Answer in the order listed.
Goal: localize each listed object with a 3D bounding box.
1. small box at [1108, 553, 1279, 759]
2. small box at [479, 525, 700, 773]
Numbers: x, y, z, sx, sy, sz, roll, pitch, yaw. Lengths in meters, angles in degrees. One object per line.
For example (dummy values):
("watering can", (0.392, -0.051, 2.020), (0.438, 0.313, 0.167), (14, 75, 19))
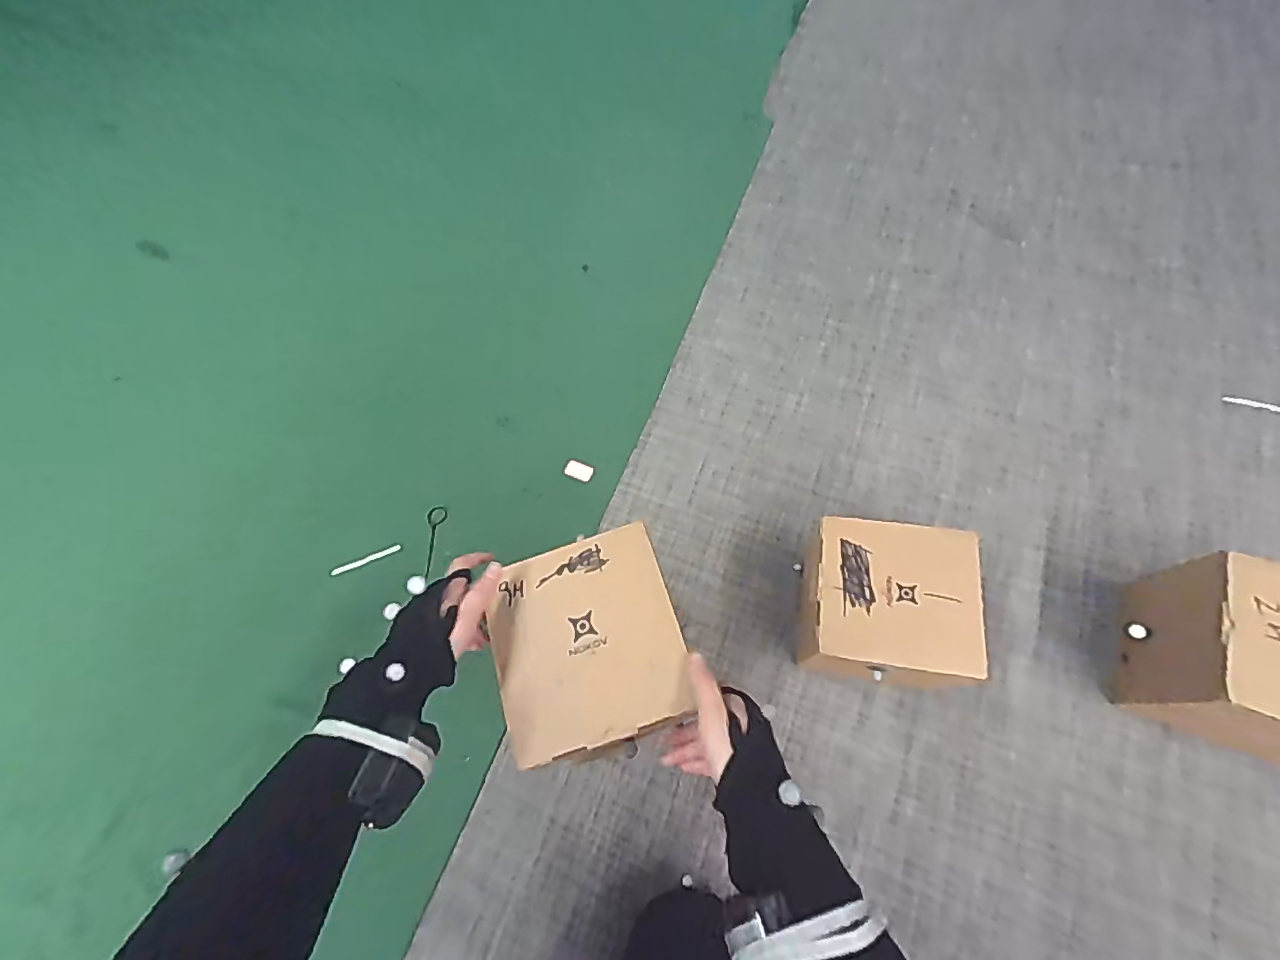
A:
("small box", (0.686, 0.204, 0.607), (0.179, 0.176, 0.168), (18, 70, 15))
("small box", (-0.041, 0.171, 0.549), (0.168, 0.176, 0.179), (-19, 65, -1))
